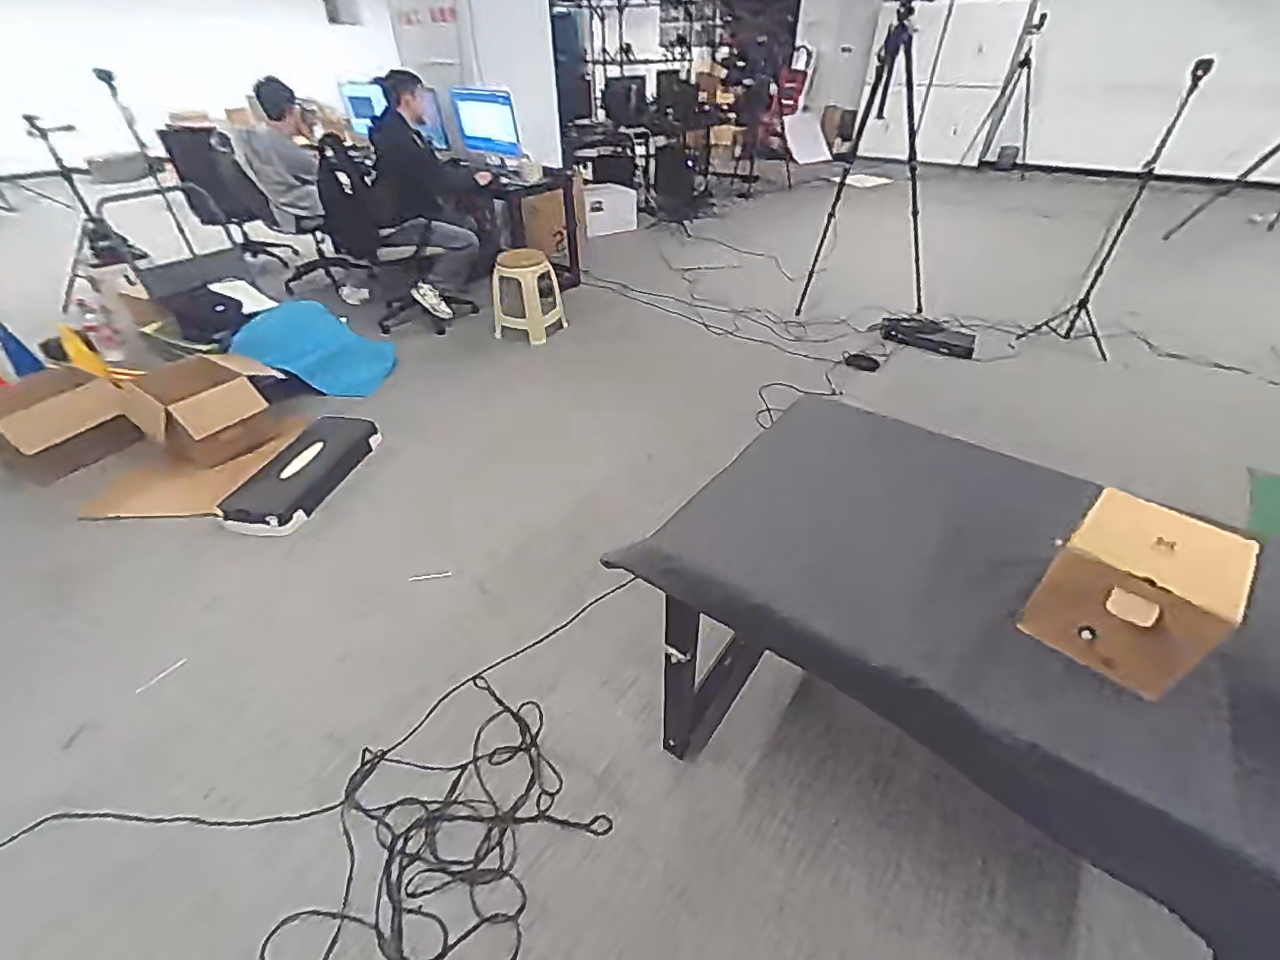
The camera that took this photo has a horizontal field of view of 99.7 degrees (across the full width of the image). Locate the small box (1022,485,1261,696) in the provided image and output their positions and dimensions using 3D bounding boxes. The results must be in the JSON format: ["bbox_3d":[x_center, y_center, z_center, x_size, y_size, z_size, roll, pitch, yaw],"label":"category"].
[{"bbox_3d":[0.653,0.142,0.719,0.179,0.176,0.168,-31,48,-32],"label":"small box"}]
